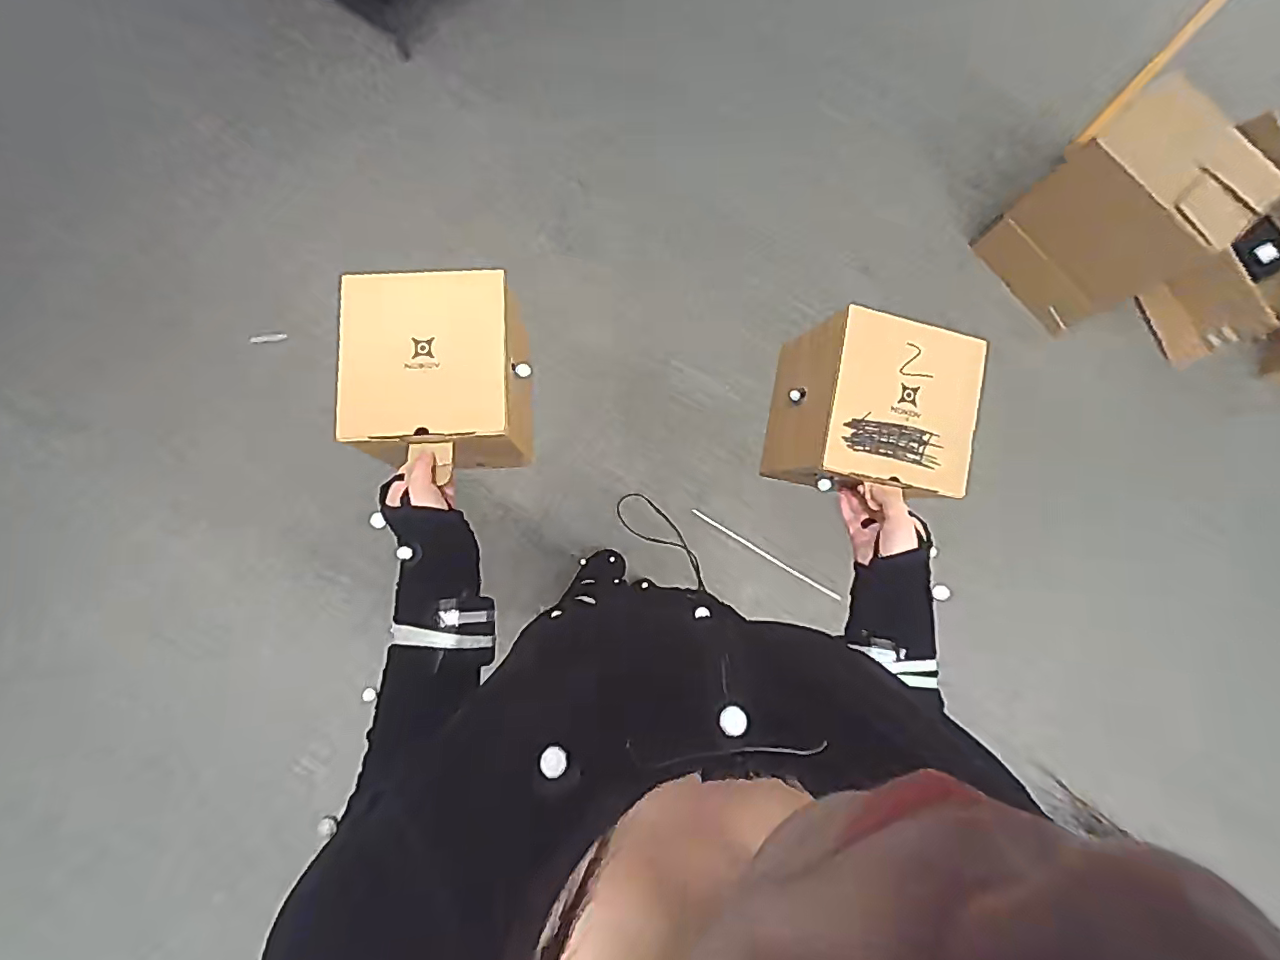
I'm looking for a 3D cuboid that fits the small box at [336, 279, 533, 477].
[{"bbox_3d":[-0.218,-0.106,0.616,0.168,0.176,0.179,-3,81,-2],"label":"small box"}]
